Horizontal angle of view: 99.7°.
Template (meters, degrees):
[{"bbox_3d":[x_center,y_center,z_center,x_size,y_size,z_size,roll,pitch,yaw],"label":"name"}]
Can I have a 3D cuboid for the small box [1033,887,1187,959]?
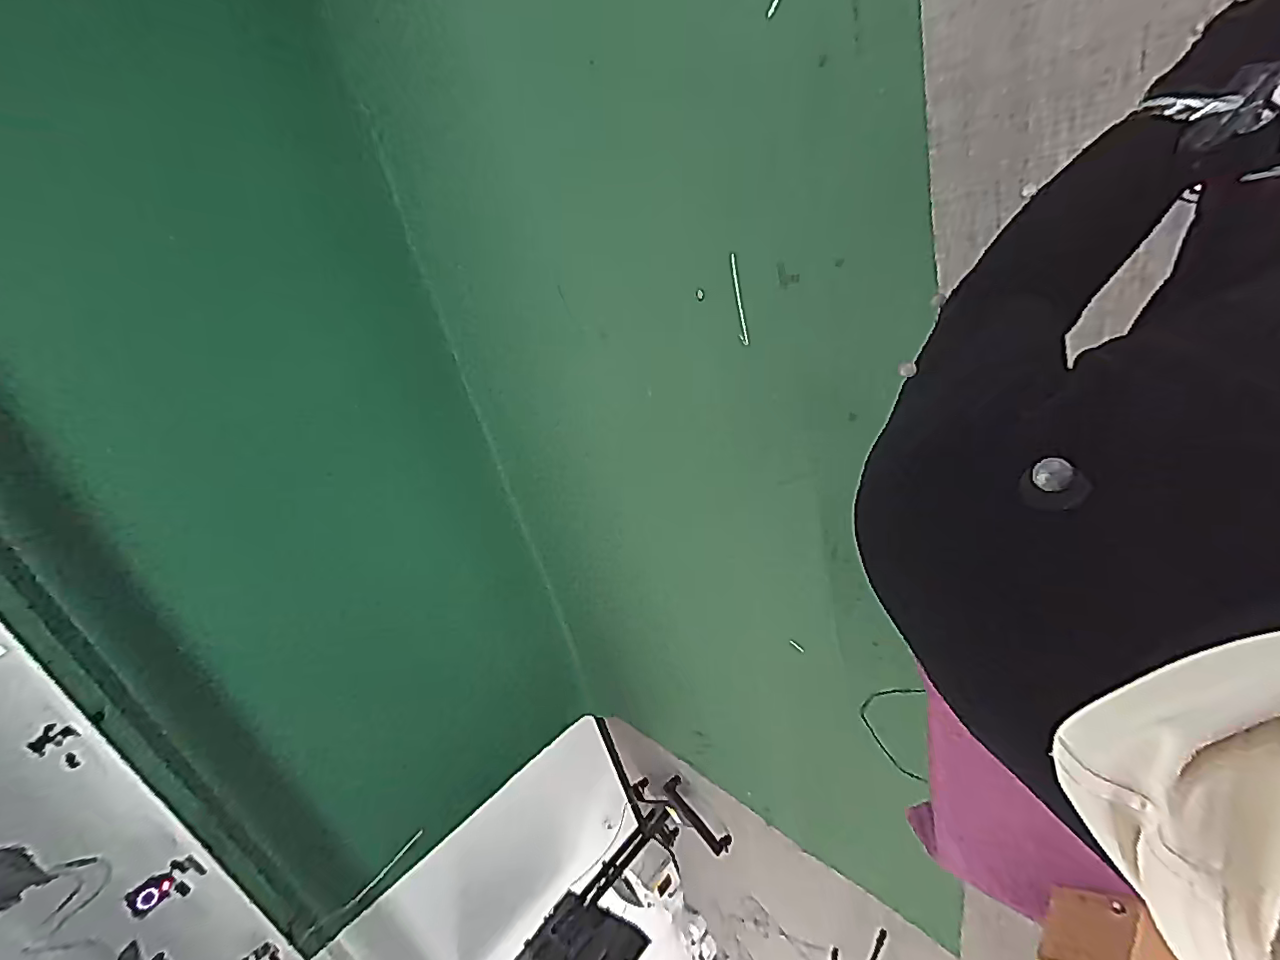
[{"bbox_3d":[0.908,0.929,1.033,0.179,0.176,0.168,52,144,8],"label":"small box"}]
